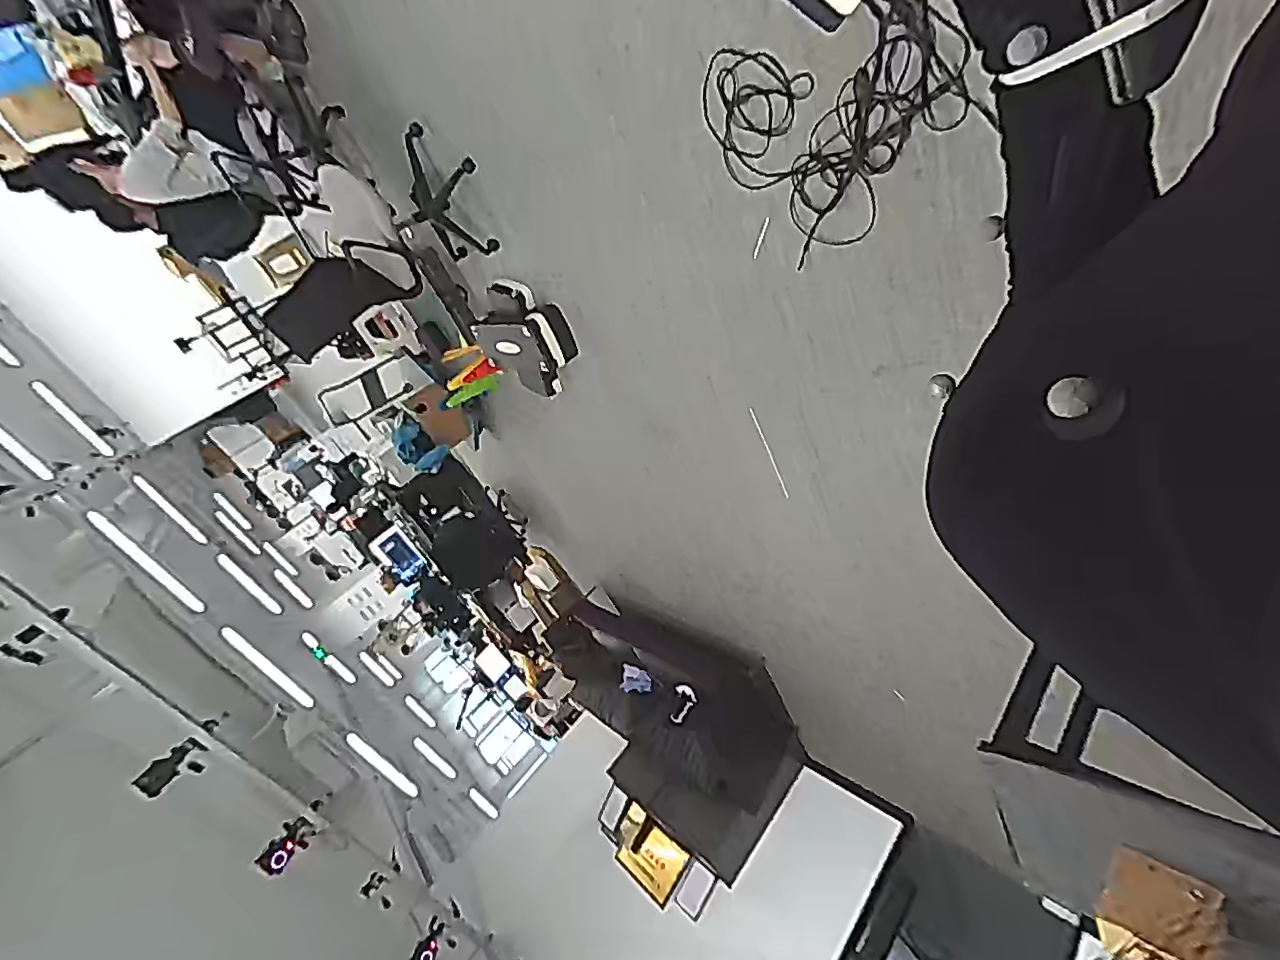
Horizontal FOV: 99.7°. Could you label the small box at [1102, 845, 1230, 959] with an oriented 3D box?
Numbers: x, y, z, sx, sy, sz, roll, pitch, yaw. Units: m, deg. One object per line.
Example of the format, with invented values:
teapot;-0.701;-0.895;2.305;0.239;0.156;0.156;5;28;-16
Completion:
small box;1.084;0.908;1.116;0.168;0.176;0.179;7;134;52
